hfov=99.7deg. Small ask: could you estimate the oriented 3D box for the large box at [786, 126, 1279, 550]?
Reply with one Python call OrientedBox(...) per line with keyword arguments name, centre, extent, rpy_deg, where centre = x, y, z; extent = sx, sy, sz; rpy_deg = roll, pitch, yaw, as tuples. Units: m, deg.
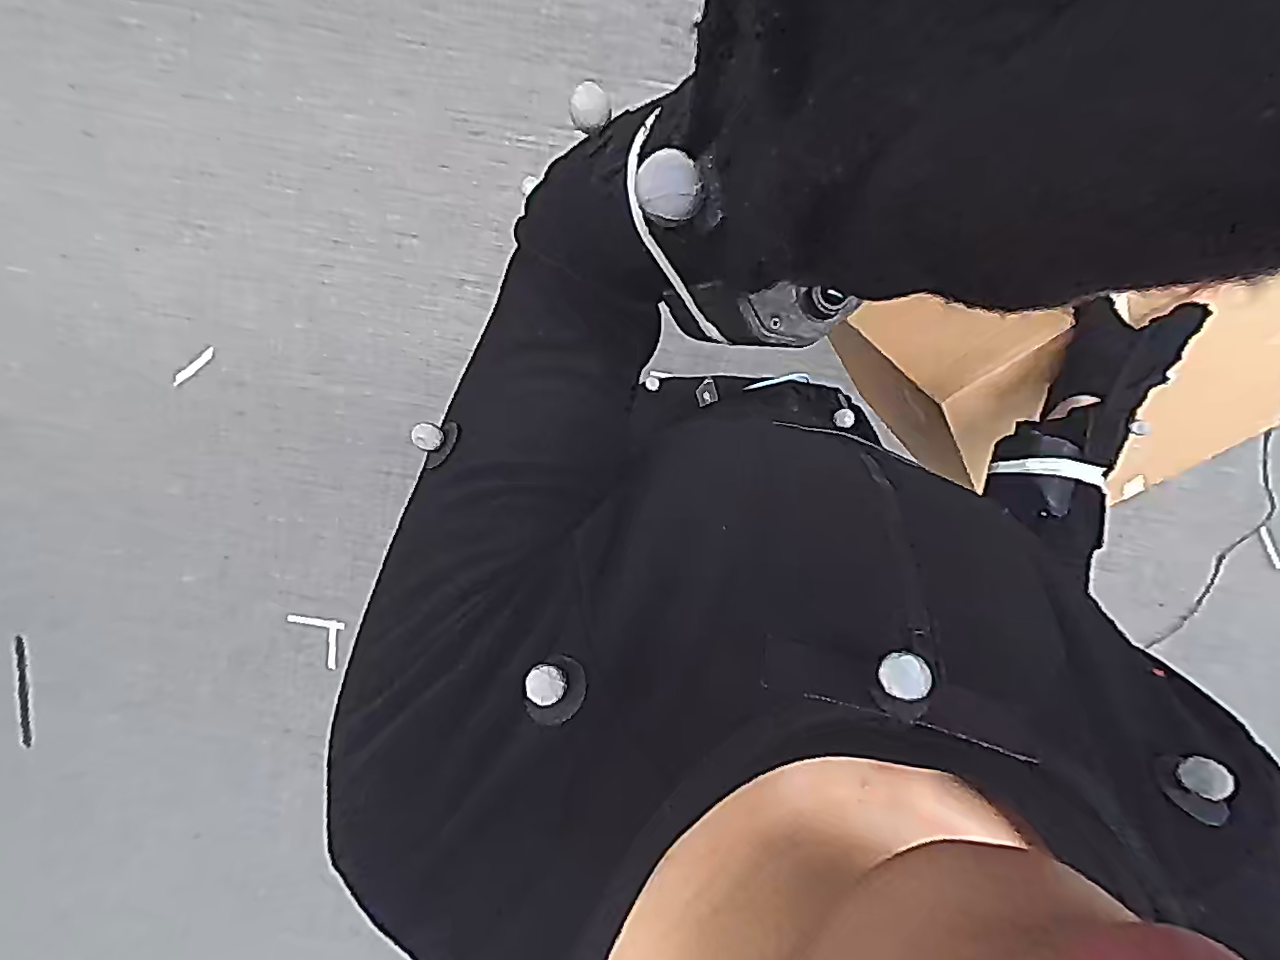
OrientedBox(name="large box", centre=(0.457, -0.191, 0.716), extent=(0.320, 0.408, 0.320), rpy_deg=(-34, 130, 17))
